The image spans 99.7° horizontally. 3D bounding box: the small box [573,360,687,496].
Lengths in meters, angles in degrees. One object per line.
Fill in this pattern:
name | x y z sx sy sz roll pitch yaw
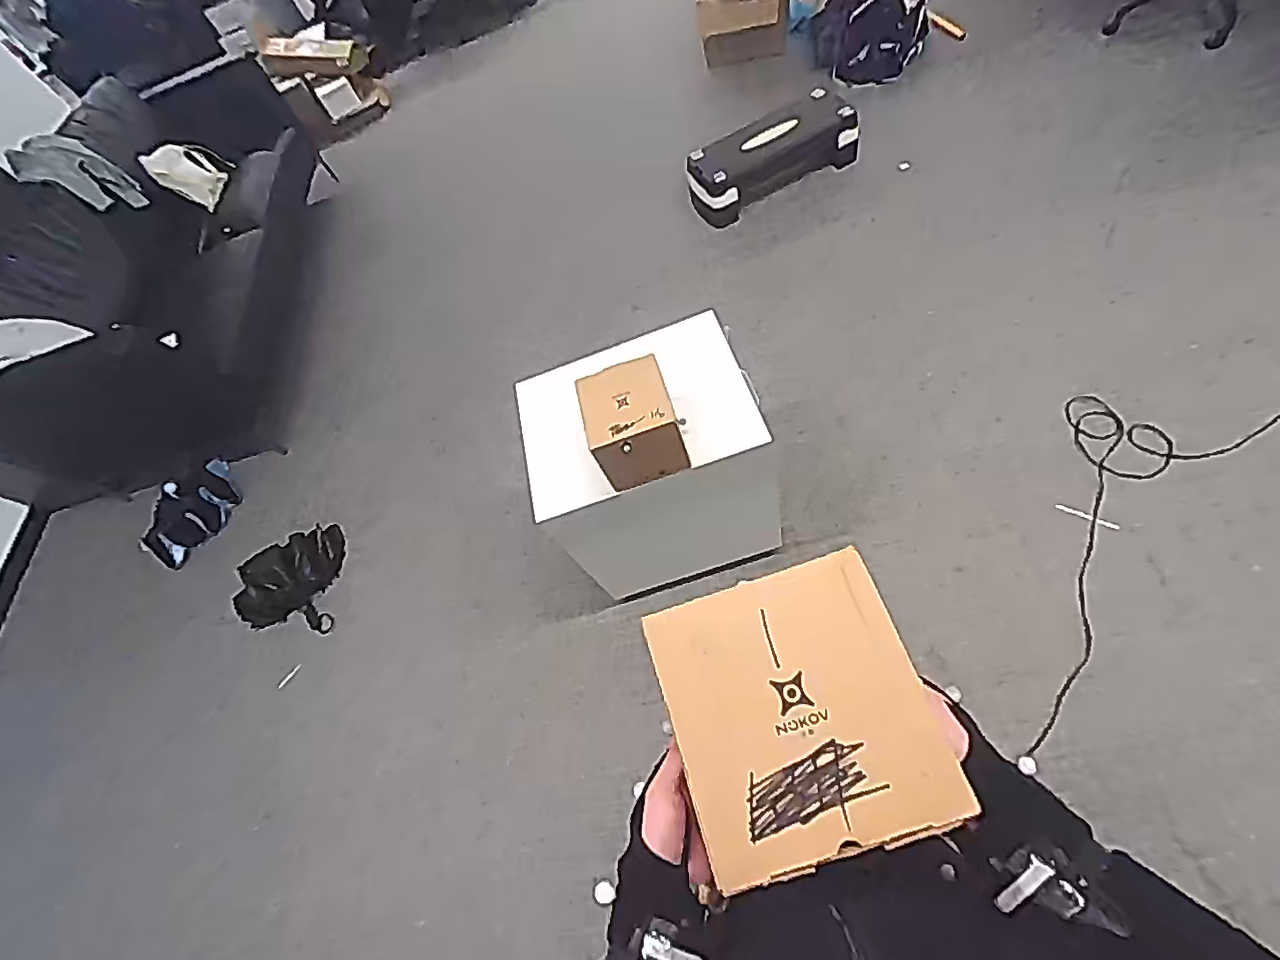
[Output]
small box | -0.018 -0.098 1.066 0.168 0.176 0.179 -20 56 6
